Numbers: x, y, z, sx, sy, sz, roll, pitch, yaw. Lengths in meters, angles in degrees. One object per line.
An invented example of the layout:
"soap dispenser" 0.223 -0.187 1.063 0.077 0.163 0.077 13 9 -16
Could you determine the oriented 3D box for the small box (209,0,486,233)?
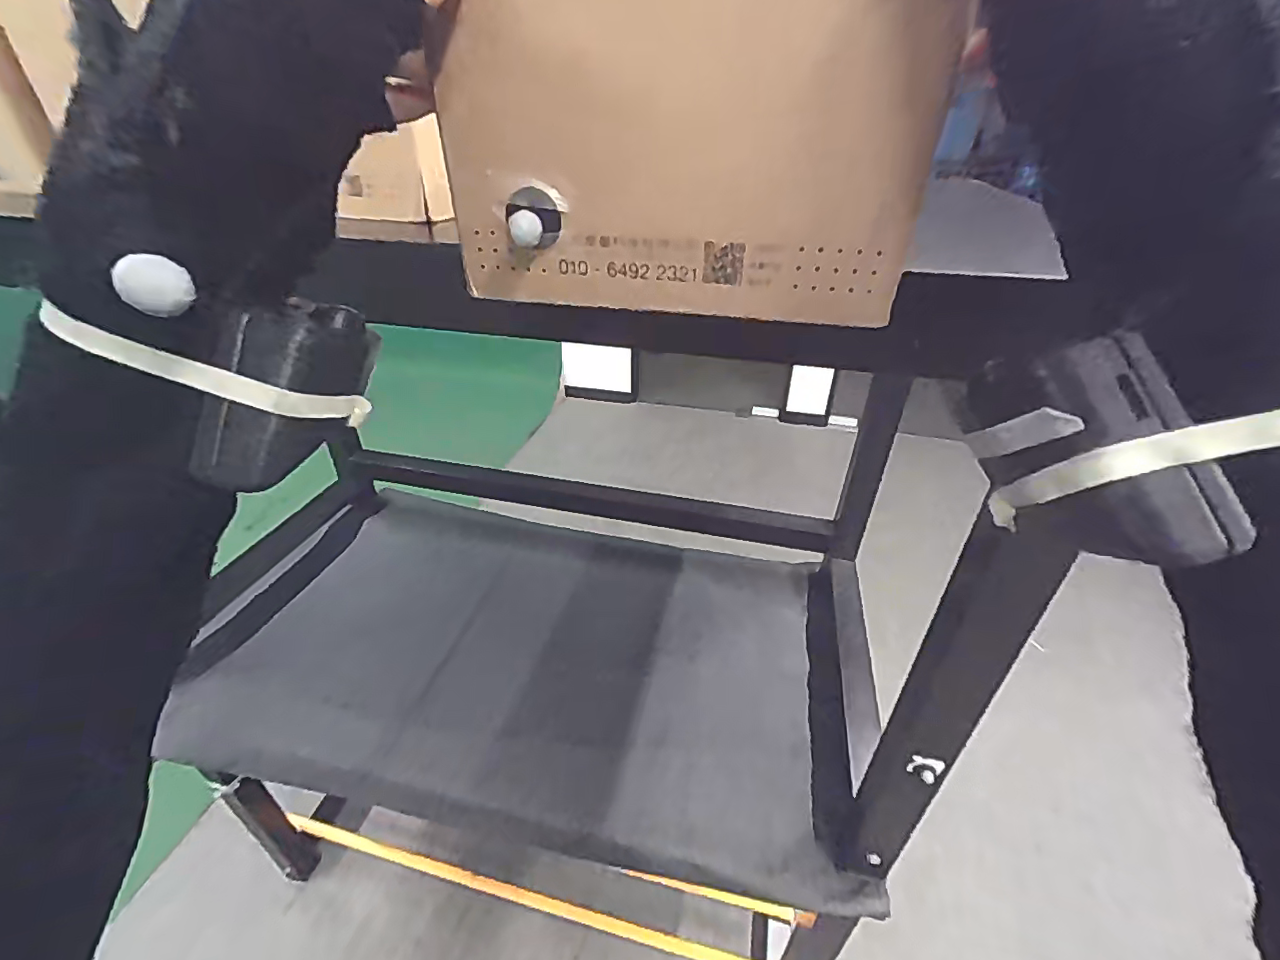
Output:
"small box" -0.205 -0.313 0.448 0.168 0.176 0.179 9 35 12
